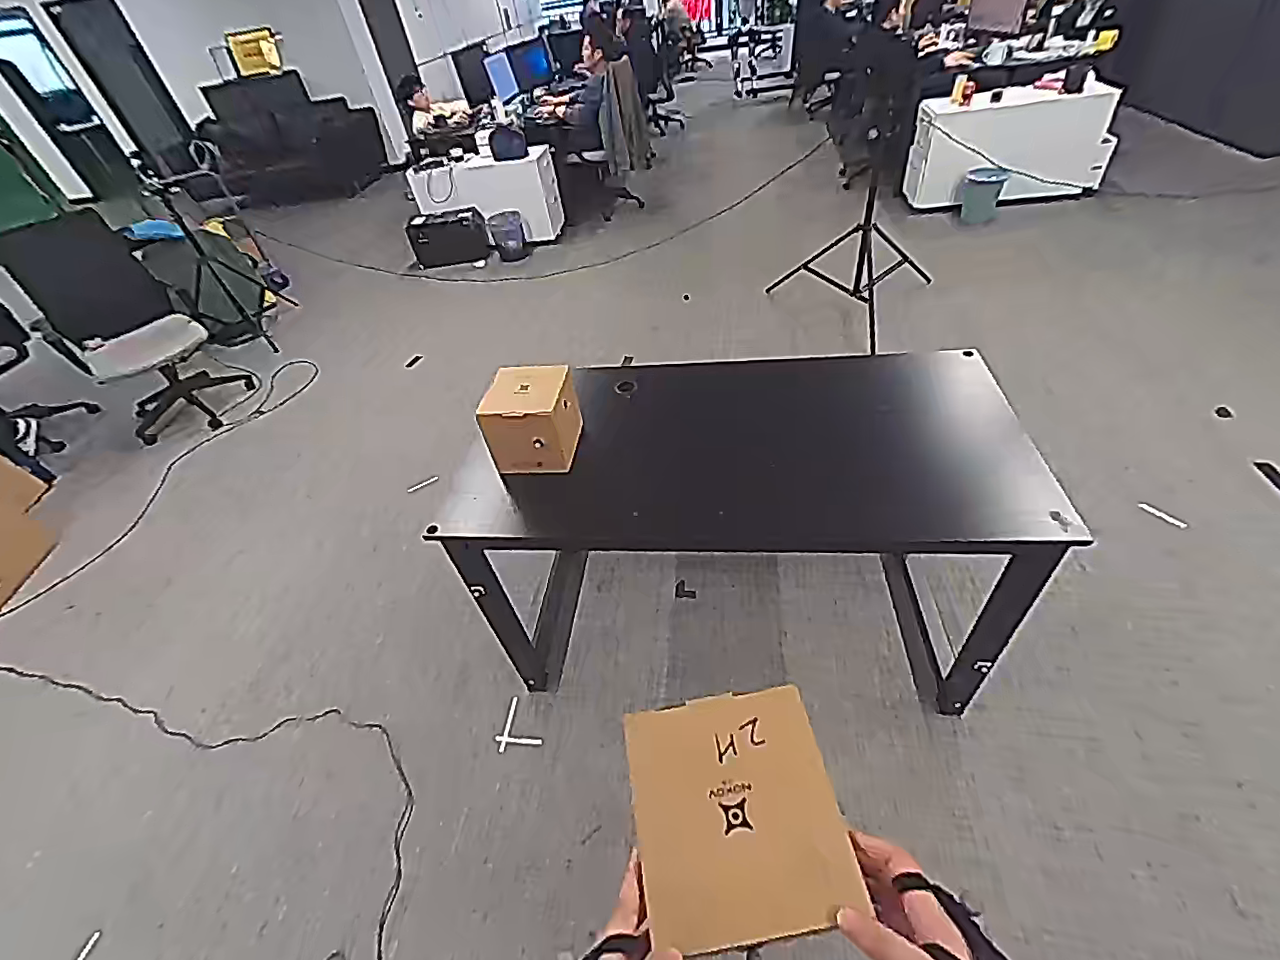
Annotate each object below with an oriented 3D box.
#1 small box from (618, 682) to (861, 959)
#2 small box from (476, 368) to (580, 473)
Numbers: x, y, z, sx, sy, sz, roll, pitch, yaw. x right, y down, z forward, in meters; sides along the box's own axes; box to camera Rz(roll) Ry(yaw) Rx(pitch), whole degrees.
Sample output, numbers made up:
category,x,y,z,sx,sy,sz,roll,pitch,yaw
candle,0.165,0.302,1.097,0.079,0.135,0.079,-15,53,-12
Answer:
category,x,y,z,sx,sy,sz,roll,pitch,yaw
small box,0.079,0.317,0.504,0.168,0.176,0.179,-10,48,-2
small box,-0.237,-0.129,1.198,0.168,0.176,0.179,0,43,9
